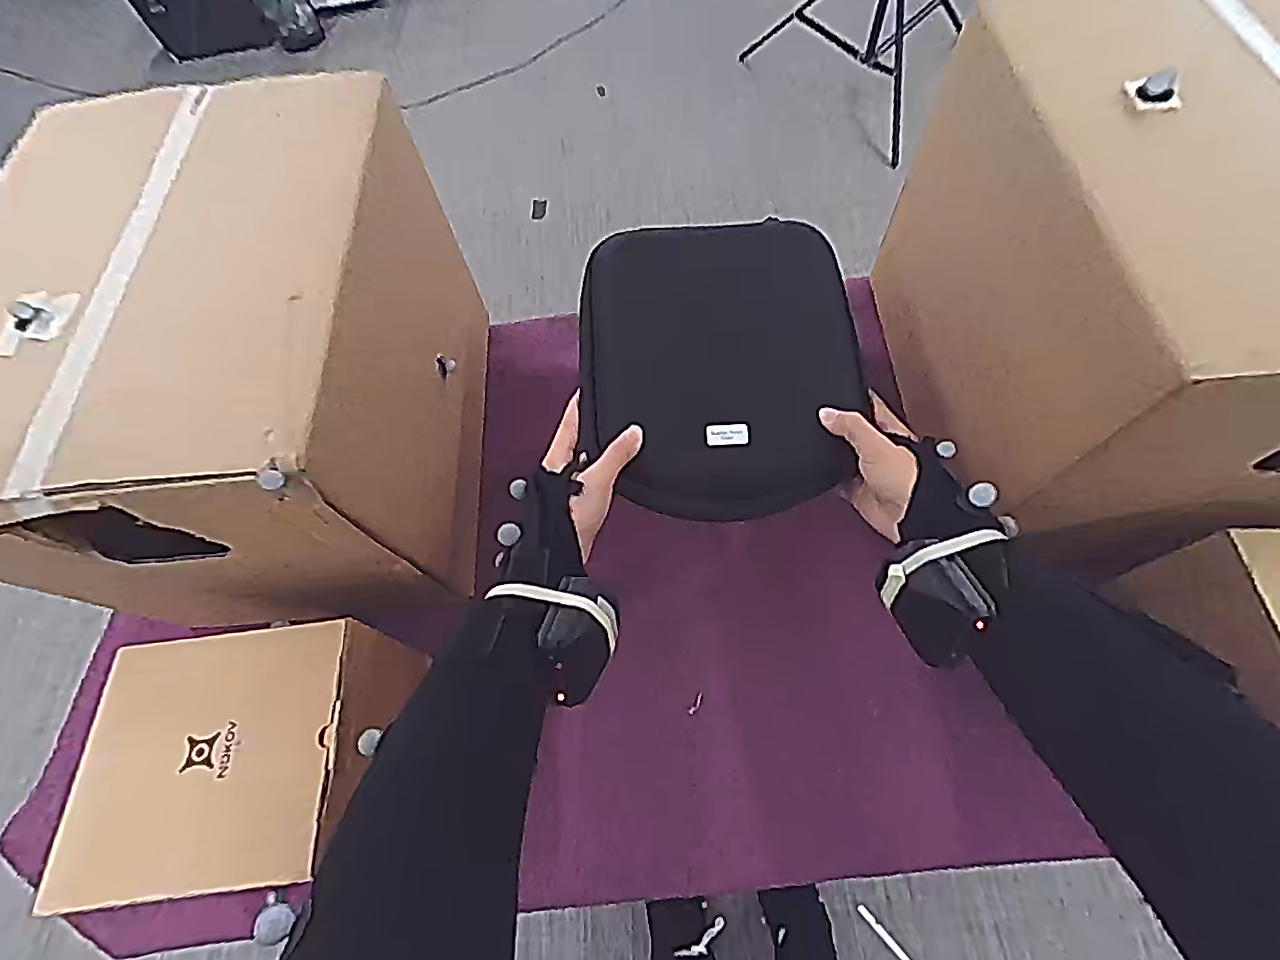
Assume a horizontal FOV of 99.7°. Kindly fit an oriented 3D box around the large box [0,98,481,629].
[{"bbox_3d":[-0.356,-0.090,0.542,0.320,0.320,0.408,-7,65,1],"label":"large box"}]
